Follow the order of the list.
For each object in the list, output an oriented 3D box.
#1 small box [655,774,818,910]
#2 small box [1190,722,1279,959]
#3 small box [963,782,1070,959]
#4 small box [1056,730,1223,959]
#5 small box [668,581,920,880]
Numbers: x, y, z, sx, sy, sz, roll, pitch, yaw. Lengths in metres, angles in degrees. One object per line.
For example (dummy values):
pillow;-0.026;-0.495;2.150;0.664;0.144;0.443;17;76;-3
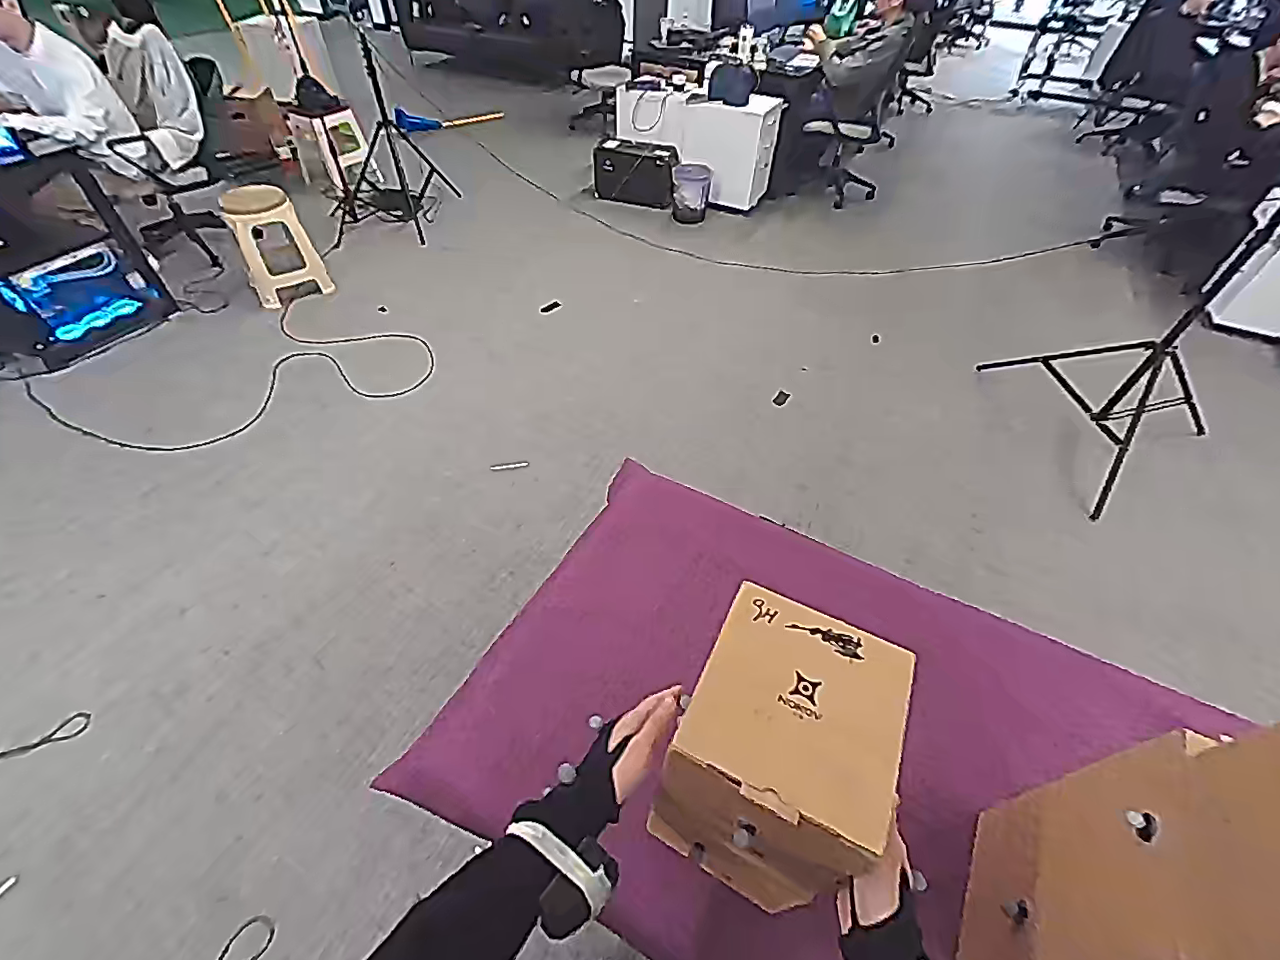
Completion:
small box;0.126;0.354;0.625;0.168;0.176;0.179;24;50;18
small box;0.464;0.248;0.293;0.168;0.176;0.179;23;50;17
small box;0.458;0.455;0.546;0.168;0.176;0.179;26;51;19
small box;0.468;0.343;0.427;0.168;0.176;0.179;25;52;20
small box;0.134;0.236;0.509;0.168;0.176;0.179;23;50;16
